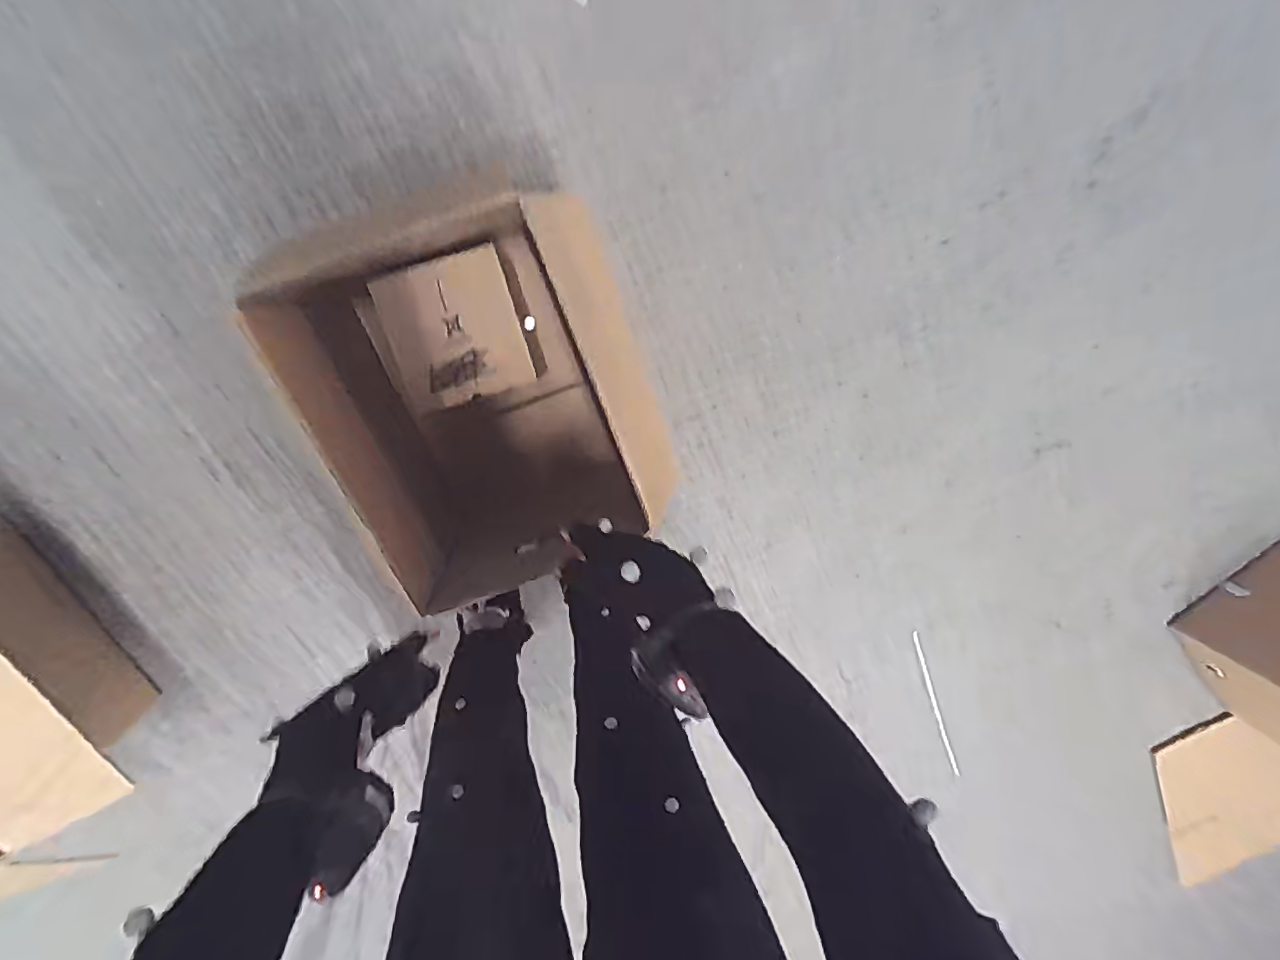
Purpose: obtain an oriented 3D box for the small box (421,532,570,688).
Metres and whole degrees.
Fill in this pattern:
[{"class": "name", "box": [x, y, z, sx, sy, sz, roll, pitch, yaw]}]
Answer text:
[{"class": "small box", "box": [-0.259, 0.225, 0.962, 0.179, 0.176, 0.168, 39, 107, 4]}]
